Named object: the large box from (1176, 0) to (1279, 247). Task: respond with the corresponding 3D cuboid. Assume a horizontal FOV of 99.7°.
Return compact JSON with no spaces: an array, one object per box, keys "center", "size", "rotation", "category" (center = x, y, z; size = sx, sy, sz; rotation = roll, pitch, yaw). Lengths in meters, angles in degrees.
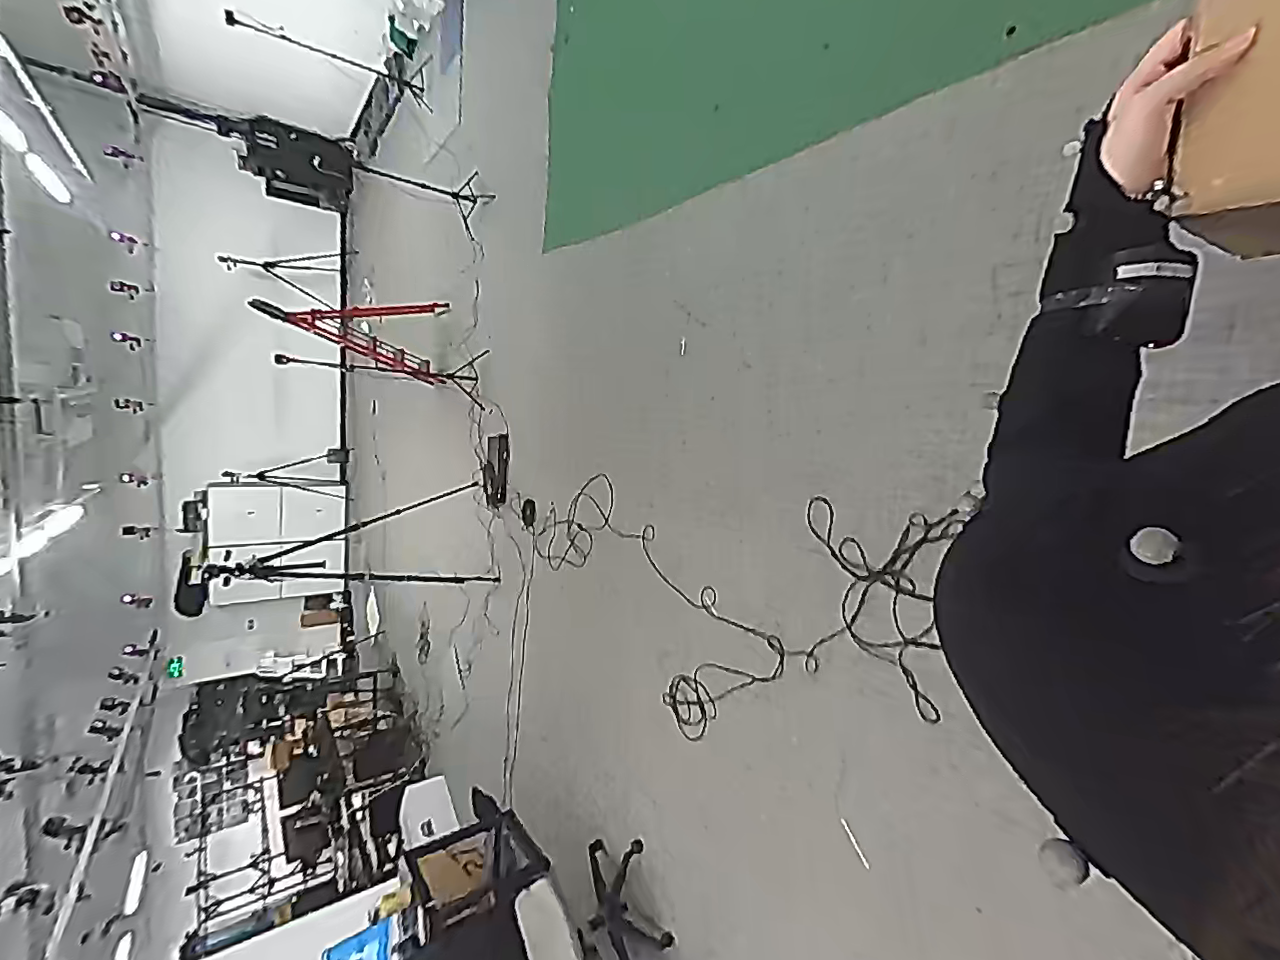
[{"center":[0.634,-0.344,0.302],"size":[0.408,0.320,0.320],"rotation":[14,108,54],"category":"large box"}]
